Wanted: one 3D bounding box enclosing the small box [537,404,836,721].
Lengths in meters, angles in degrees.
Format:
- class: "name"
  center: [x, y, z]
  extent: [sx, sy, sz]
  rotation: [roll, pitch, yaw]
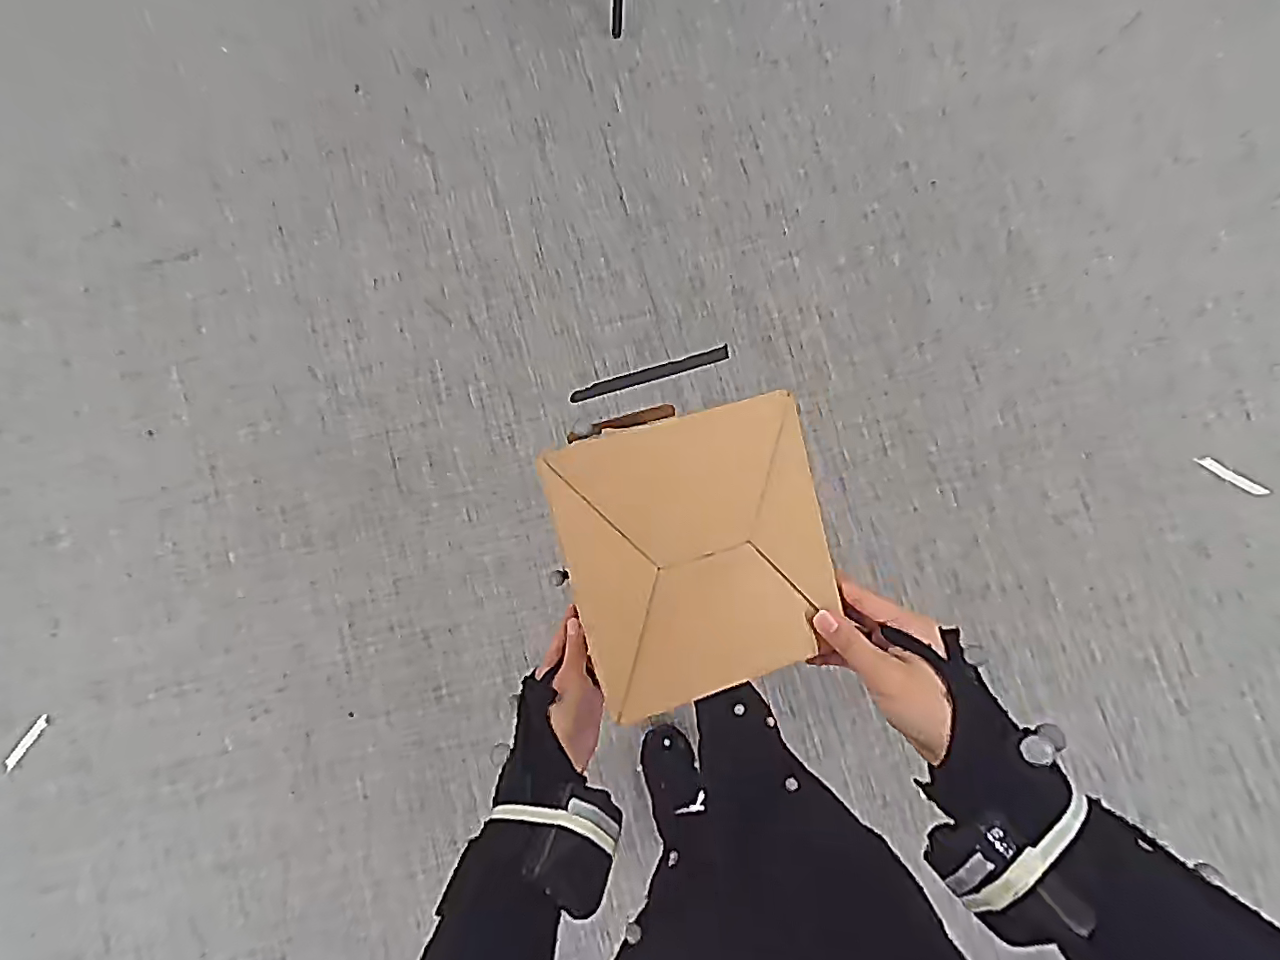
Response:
- class: "small box"
  center: [0.025, 0.046, 0.419]
  extent: [0.168, 0.176, 0.179]
  rotation: [-15, 95, -11]
